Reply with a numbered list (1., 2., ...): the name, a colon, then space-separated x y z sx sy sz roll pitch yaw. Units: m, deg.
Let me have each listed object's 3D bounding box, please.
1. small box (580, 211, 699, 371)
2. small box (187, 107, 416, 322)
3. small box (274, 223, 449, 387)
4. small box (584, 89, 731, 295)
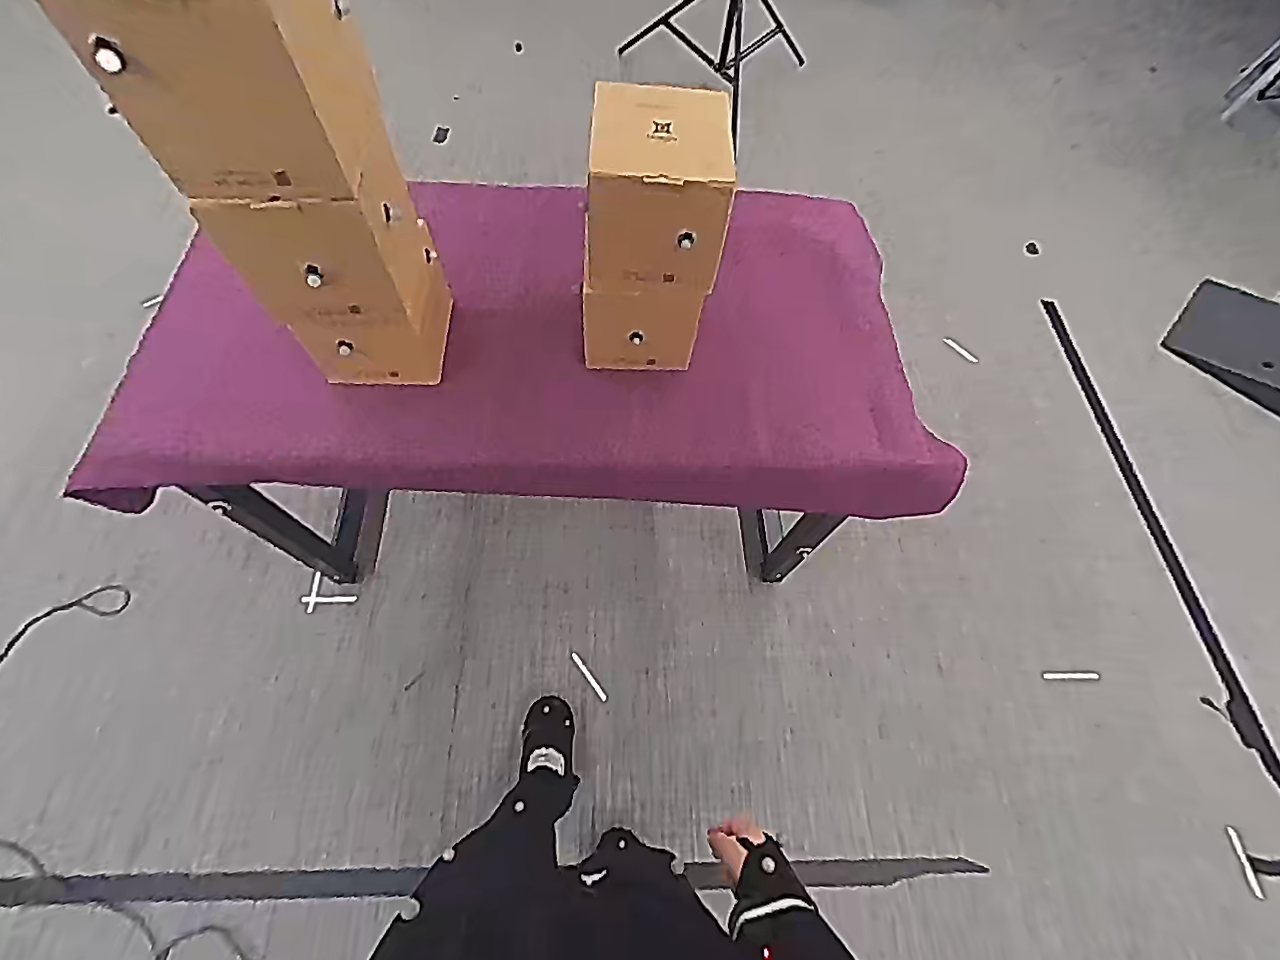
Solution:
1. small box: -0.005 -0.287 0.841 0.168 0.176 0.179 0 64 -4
2. small box: -0.378 -0.305 0.643 0.168 0.176 0.179 -5 65 -6
3. small box: -0.392 -0.252 0.799 0.168 0.176 0.179 -1 64 -4
4. small box: 0.016 -0.361 0.698 0.168 0.176 0.179 2 63 -4
